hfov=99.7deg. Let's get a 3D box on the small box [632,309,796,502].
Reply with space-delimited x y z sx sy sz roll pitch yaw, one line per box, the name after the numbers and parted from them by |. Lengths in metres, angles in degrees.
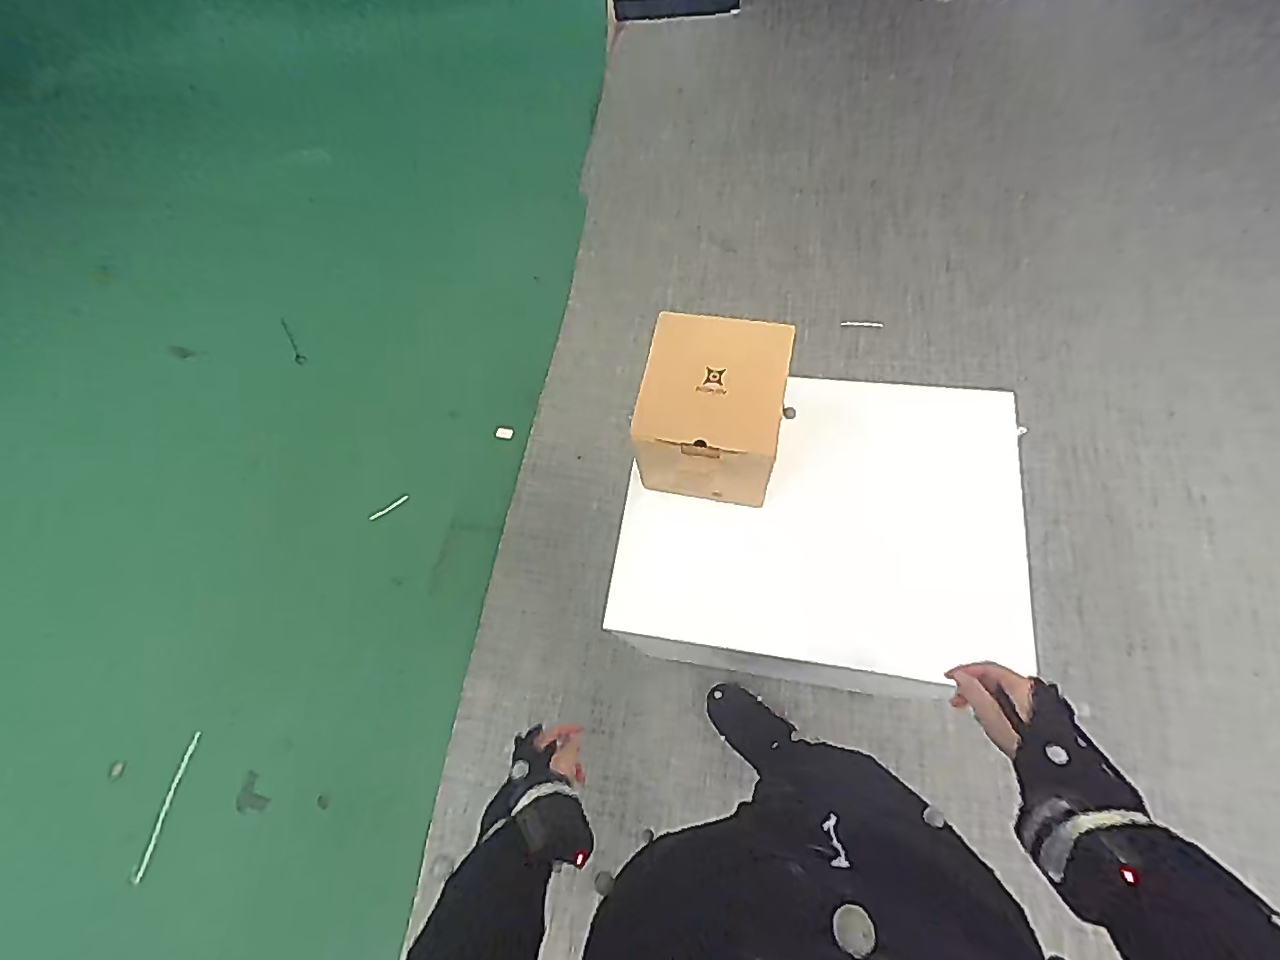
0.095 -0.089 0.694 0.168 0.176 0.179 9 71 10 | small box
